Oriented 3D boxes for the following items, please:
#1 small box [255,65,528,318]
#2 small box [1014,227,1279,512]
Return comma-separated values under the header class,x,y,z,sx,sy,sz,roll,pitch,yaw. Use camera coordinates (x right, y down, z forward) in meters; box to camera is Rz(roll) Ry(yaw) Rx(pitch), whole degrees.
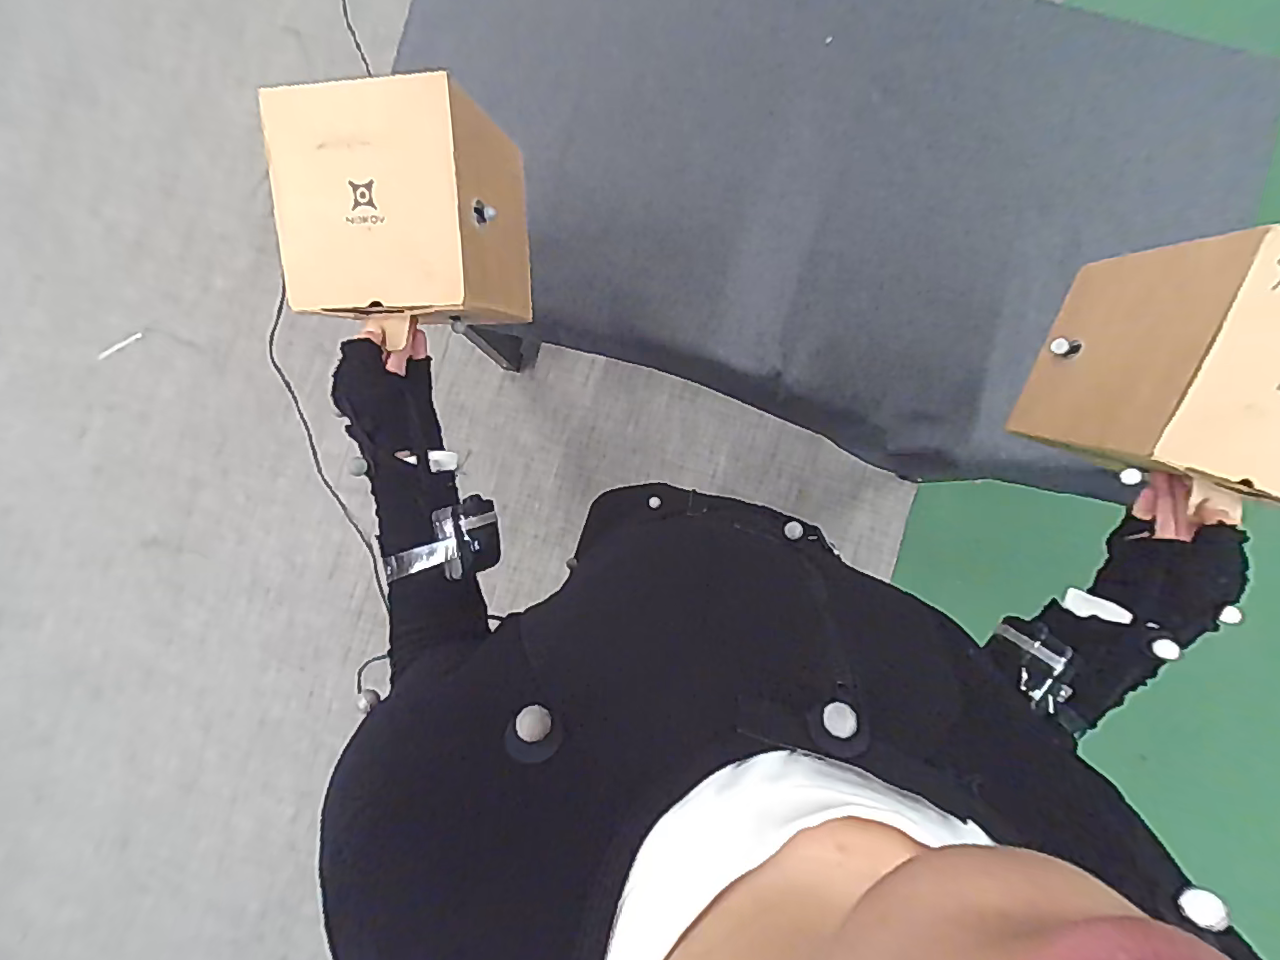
class,x,y,z,sx,sy,sz,roll,pitch,yaw
small box,-0.213,-0.248,0.514,0.168,0.176,0.179,0,102,7
small box,0.483,-0.092,0.479,0.168,0.176,0.179,17,103,-6
